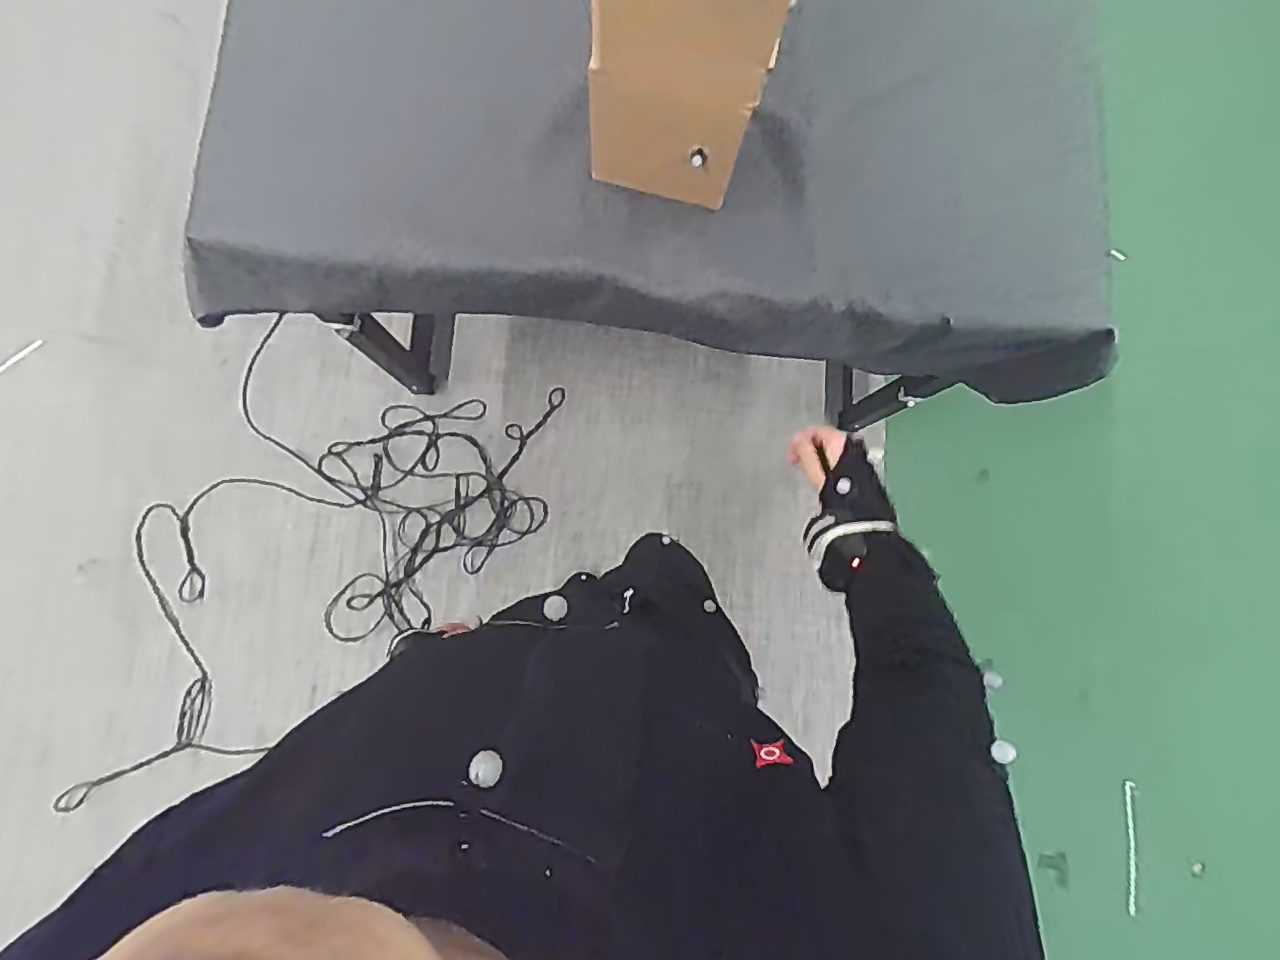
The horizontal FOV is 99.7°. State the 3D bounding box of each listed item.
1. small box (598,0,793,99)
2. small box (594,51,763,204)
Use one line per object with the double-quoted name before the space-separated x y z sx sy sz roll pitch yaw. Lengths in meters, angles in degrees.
"small box" 0.061 -0.490 0.484 0.179 0.176 0.168 13 81 -3
"small box" 0.049 -0.464 0.644 0.179 0.176 0.168 13 81 -1
